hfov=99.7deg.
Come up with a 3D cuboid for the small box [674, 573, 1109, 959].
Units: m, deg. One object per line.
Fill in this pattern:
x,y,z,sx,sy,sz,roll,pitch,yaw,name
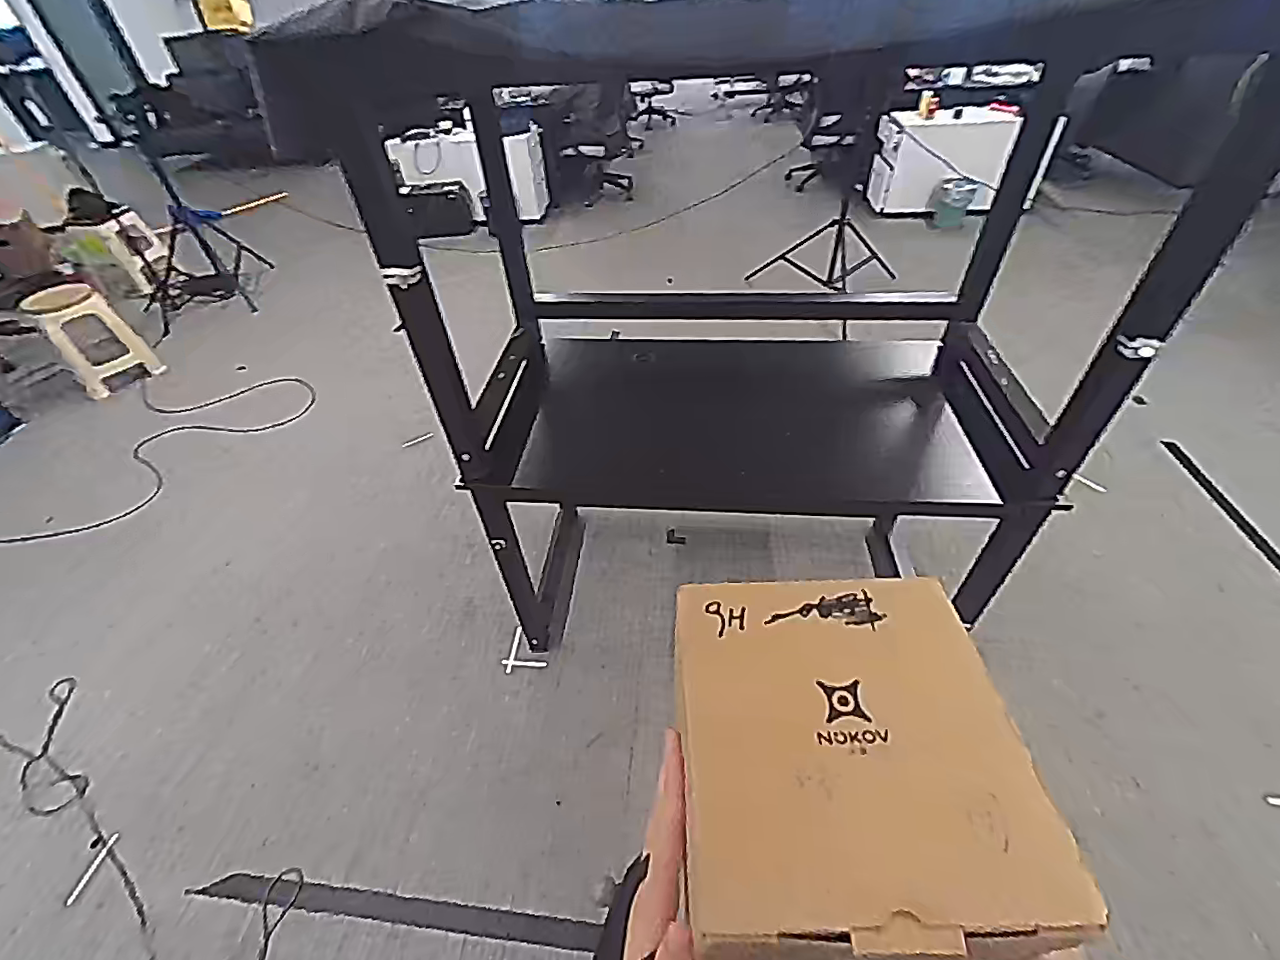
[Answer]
0.106,0.177,0.327,0.168,0.176,0.179,-1,44,1,small box
